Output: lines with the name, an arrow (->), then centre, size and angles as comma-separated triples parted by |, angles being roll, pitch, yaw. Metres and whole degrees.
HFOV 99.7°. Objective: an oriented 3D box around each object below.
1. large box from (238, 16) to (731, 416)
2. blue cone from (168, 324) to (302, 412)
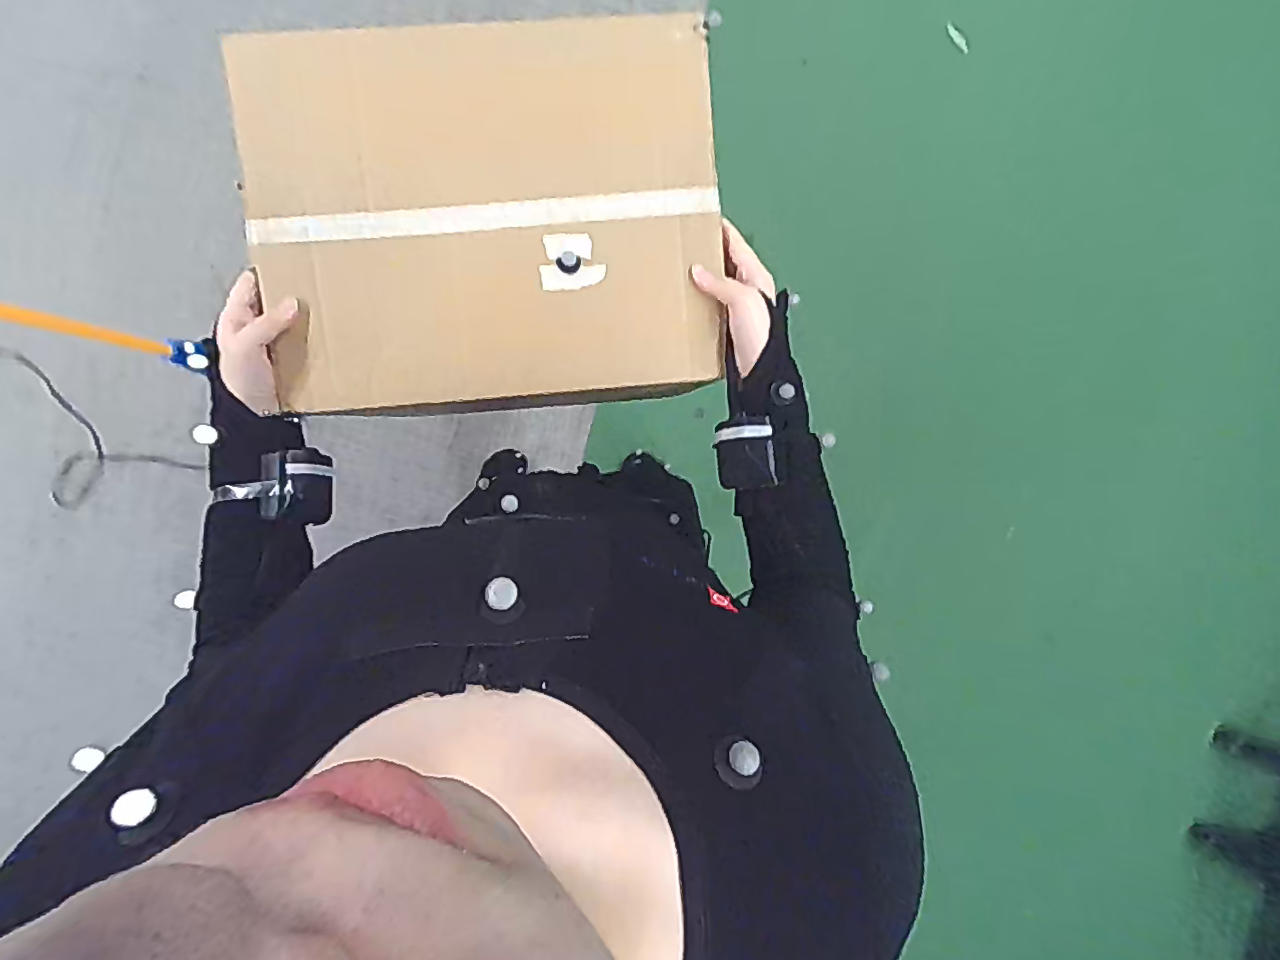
large box -> -0.140, -0.252, 0.629 | 0.408, 0.320, 0.320 | -7, 97, -4
blue cone -> -0.939, -0.283, 1.250 | 0.192, 0.380, 0.193 | 24, 91, -6
